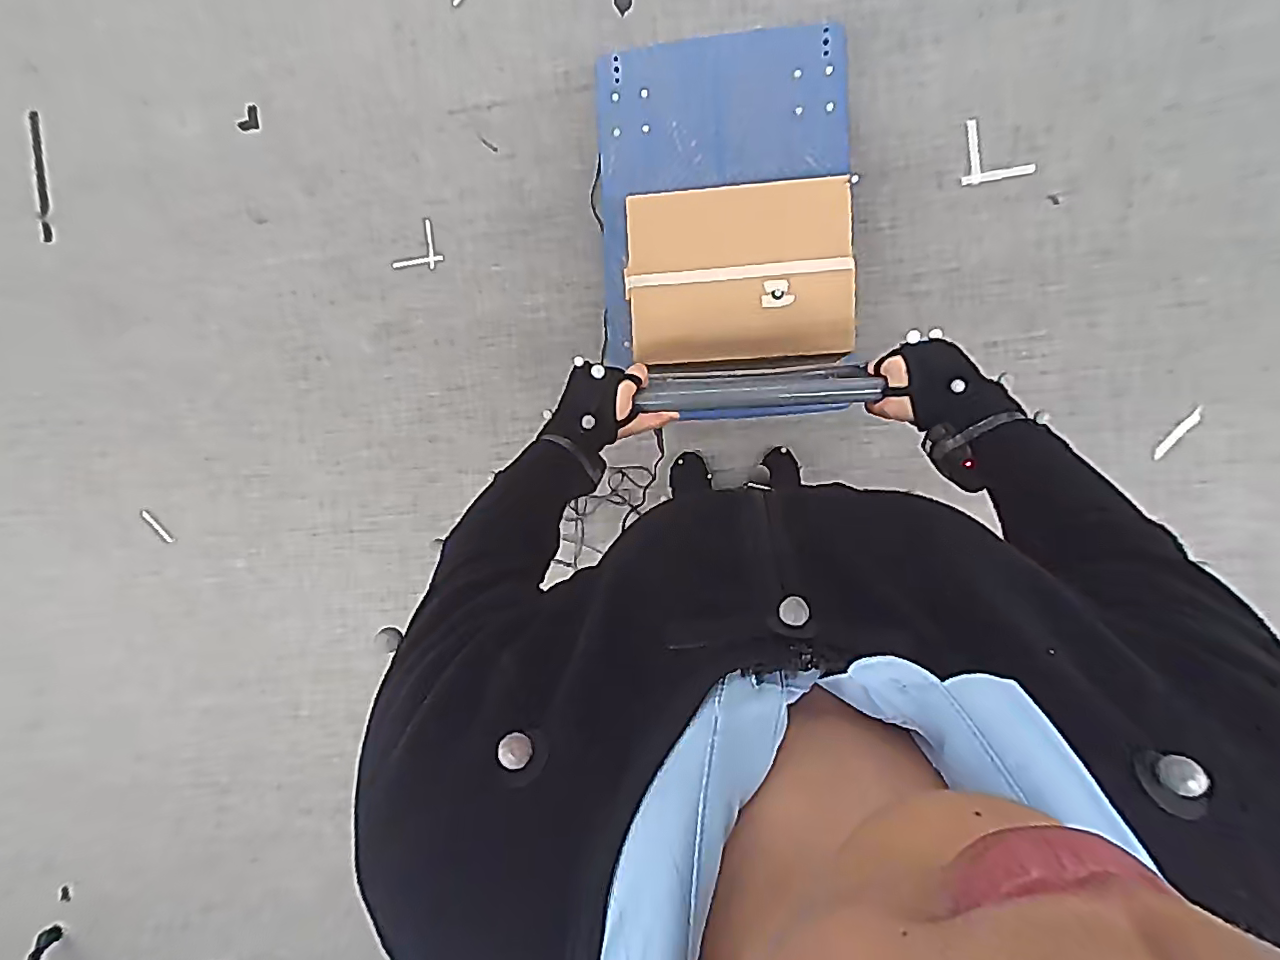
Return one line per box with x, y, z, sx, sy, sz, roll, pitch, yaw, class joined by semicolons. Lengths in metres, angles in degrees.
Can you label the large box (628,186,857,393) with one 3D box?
0.195;-0.364;1.127;0.408;0.320;0.320;-3;94;5;large box
